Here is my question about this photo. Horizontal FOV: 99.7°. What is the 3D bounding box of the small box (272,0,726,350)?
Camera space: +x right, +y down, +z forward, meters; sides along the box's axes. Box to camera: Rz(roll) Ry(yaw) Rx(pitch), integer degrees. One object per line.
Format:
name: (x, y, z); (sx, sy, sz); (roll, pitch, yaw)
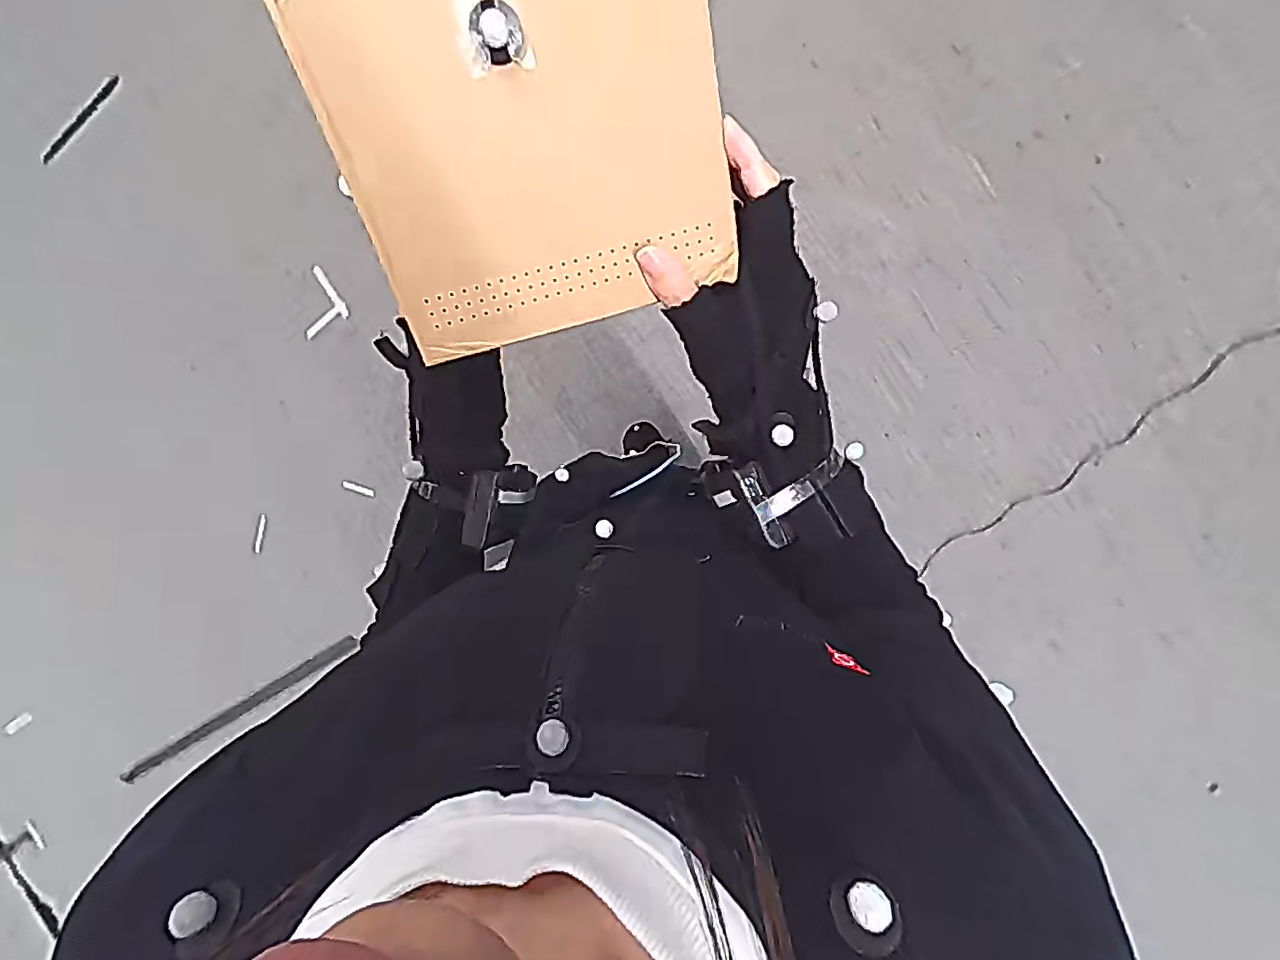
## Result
small box: (-0.062, -0.195, 0.330); (0.179, 0.168, 0.176); (-16, 121, -1)
